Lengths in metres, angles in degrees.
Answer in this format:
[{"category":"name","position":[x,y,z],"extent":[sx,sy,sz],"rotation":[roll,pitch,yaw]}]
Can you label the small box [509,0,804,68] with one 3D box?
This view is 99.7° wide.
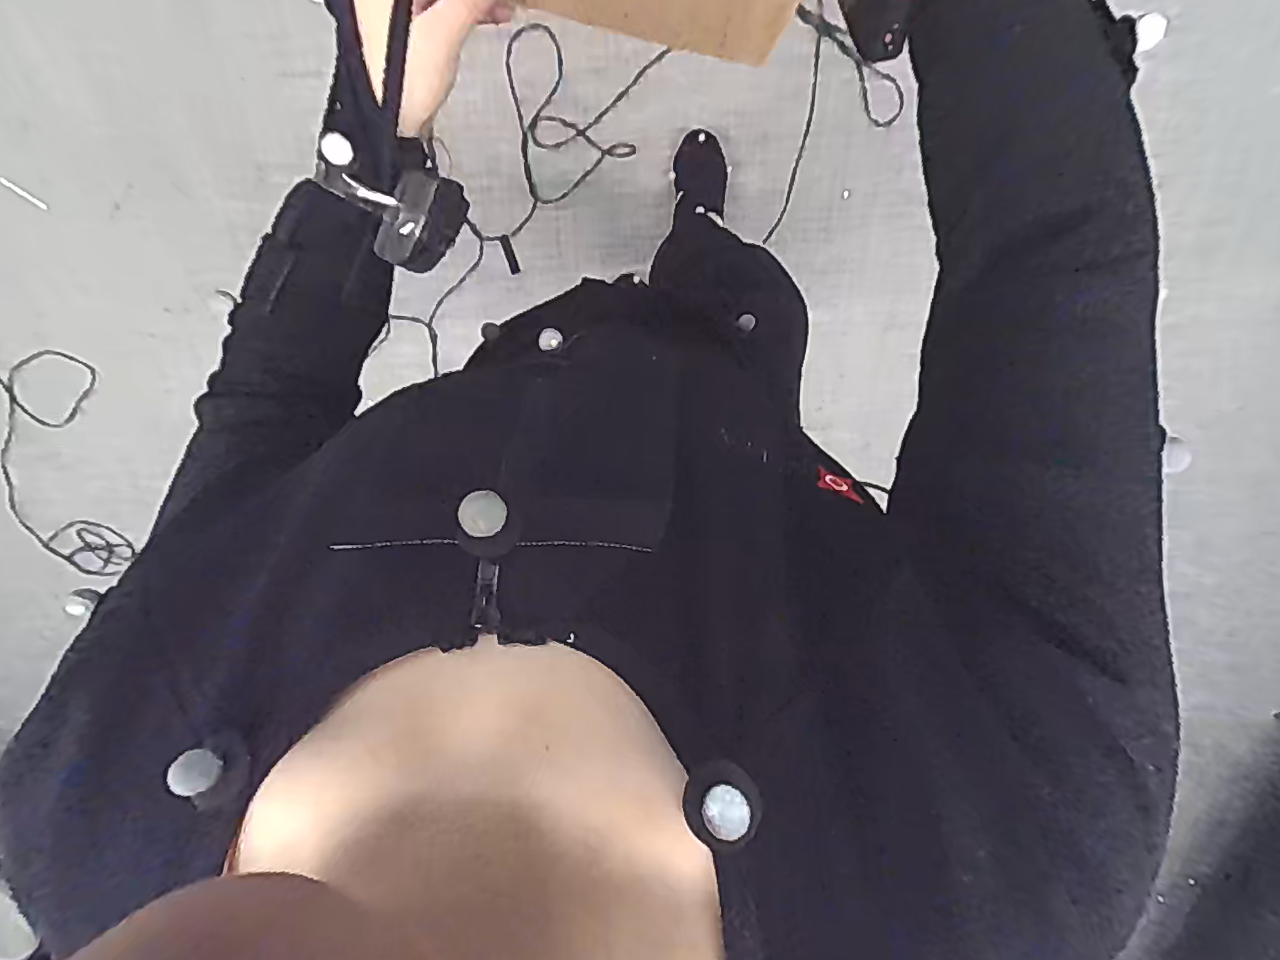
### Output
[{"category":"small box","position":[0.019,-0.342,0.241],"extent":[0.176,0.168,0.179],"rotation":[7,97,-7]}]
